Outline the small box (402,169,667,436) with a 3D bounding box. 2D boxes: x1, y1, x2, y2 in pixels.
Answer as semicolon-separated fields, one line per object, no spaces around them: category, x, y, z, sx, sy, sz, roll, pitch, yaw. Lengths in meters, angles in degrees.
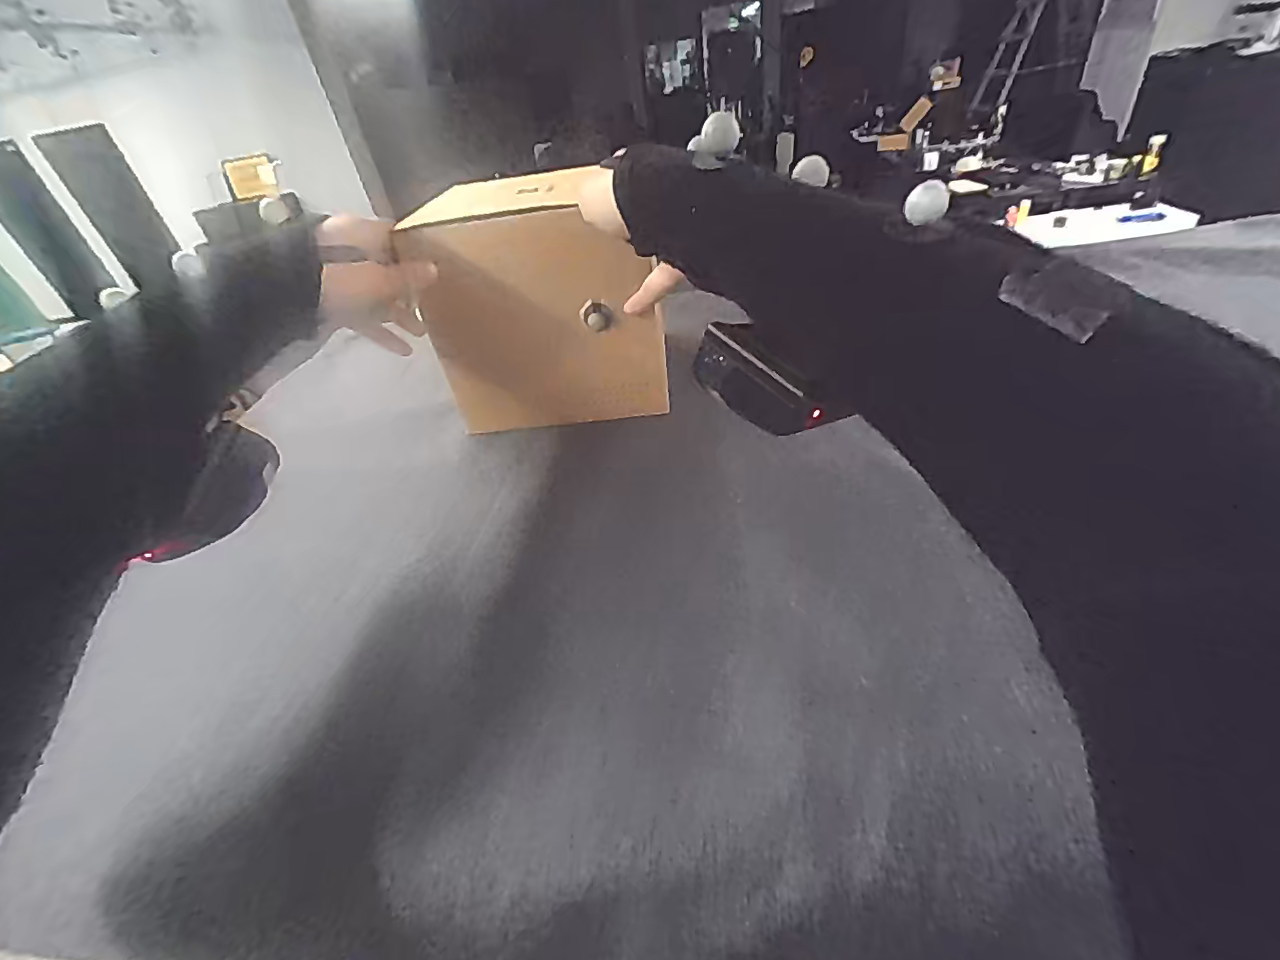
small box;-0.067;-0.154;0.472;0.179;0.176;0.168;-5;37;5
